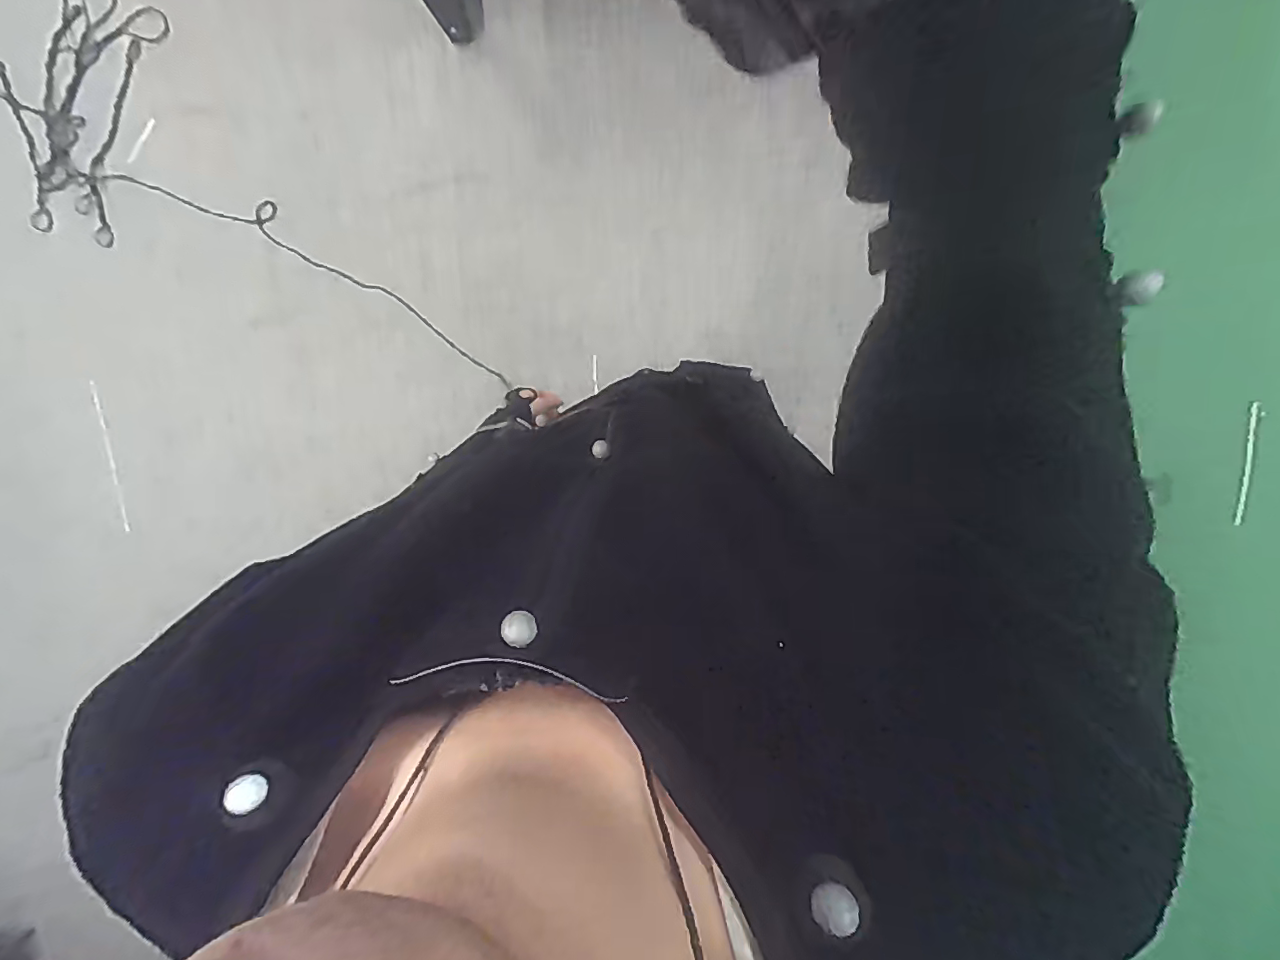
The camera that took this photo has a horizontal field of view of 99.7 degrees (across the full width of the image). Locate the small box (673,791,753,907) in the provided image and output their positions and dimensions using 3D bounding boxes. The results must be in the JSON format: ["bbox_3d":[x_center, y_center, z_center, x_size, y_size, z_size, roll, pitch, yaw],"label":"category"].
[{"bbox_3d":[0.188,0.952,1.403,0.168,0.176,0.179,-14,98,7],"label":"small box"}]

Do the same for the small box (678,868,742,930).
[{"bbox_3d":[0.207,1.183,1.609,0.179,0.176,0.168,5,101,4],"label":"small box"}]
